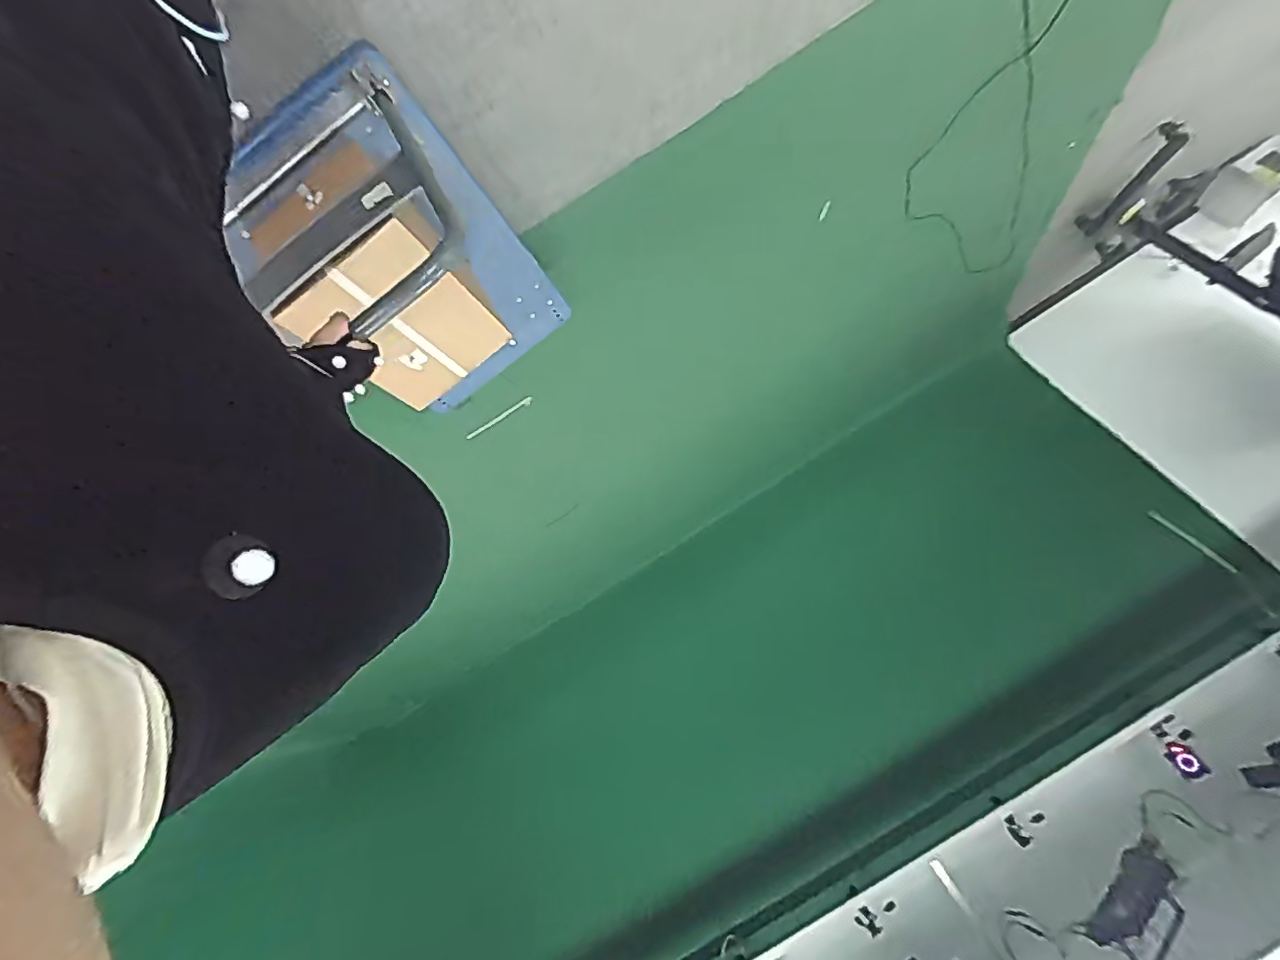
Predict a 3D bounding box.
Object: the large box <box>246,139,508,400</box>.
[{"bbox_3d":[-0.589,-0.461,1.249,0.320,0.320,0.408,-36,153,7],"label":"large box"}]
